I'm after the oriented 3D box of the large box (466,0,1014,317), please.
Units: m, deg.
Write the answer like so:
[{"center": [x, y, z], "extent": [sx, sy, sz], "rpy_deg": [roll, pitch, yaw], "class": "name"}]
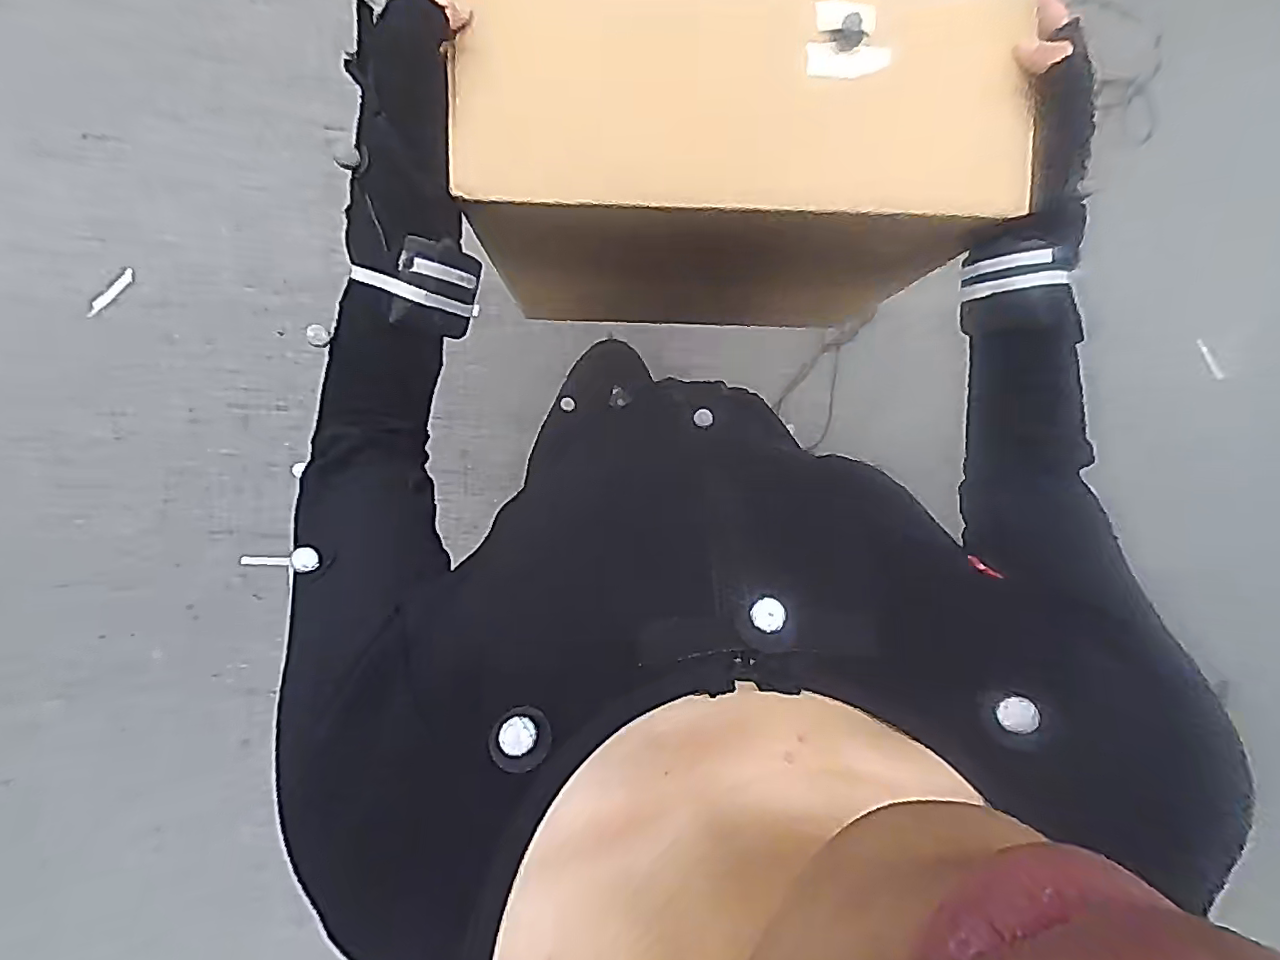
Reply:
[{"center": [0.066, -0.358, 0.536], "extent": [0.408, 0.320, 0.320], "rpy_deg": [0, 92, -3], "class": "large box"}]
